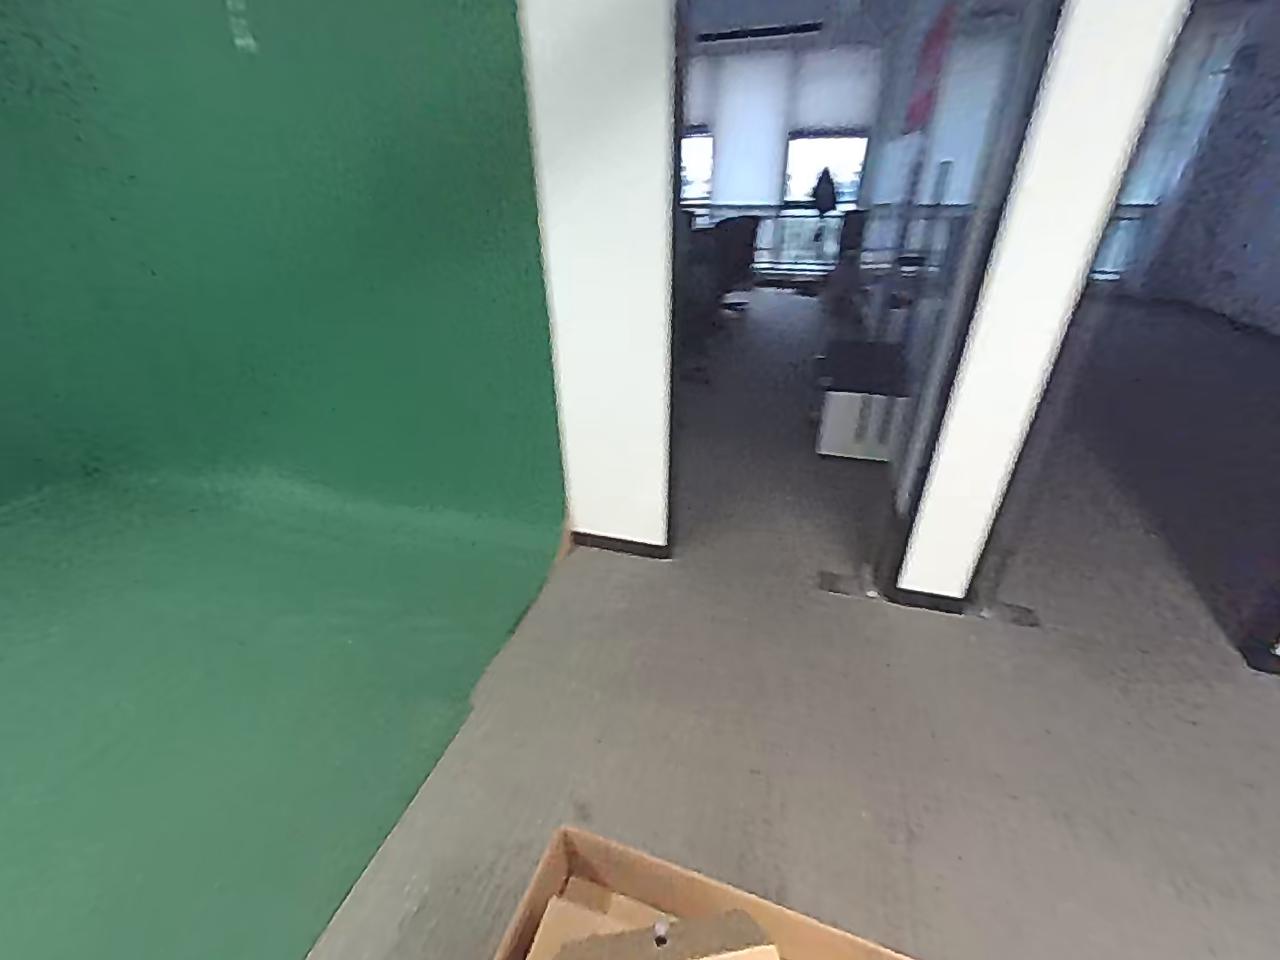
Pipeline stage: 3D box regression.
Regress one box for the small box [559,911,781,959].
[{"bbox_3d":[0.022,0.436,0.387,0.179,0.176,0.168,-8,59,-4],"label":"small box"}]
